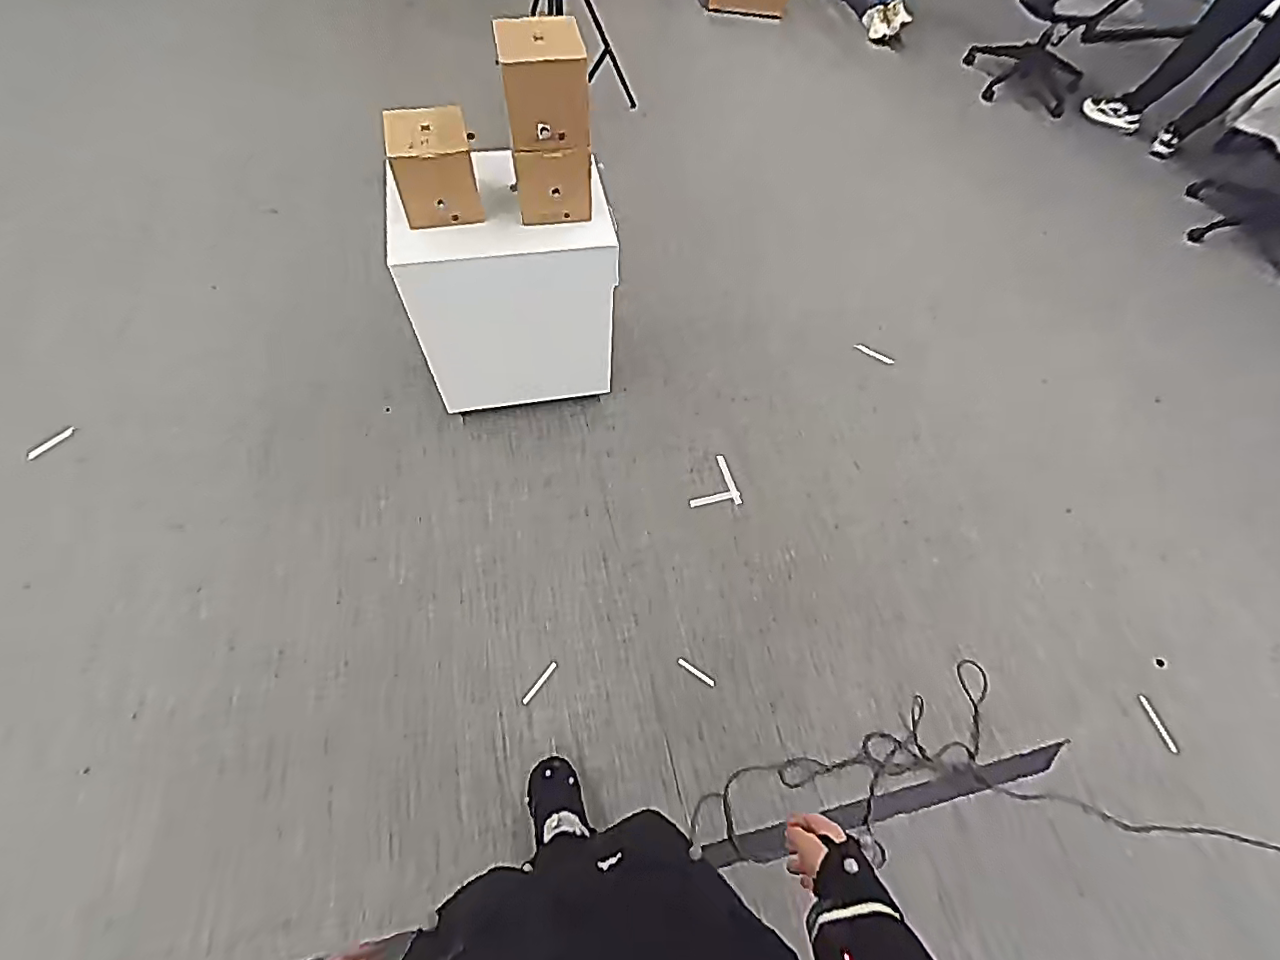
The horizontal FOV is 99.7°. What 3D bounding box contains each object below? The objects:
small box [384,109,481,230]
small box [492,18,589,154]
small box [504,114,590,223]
[{"bbox_3d":[-0.462,-0.694,1.213,0.168,0.176,0.179,-12,63,-11],"label":"small box"},{"bbox_3d":[-0.201,-0.805,1.109,0.168,0.176,0.179,-11,63,-8],"label":"small box"},{"bbox_3d":[-0.210,-0.716,1.247,0.168,0.176,0.179,-9,64,-8],"label":"small box"}]
